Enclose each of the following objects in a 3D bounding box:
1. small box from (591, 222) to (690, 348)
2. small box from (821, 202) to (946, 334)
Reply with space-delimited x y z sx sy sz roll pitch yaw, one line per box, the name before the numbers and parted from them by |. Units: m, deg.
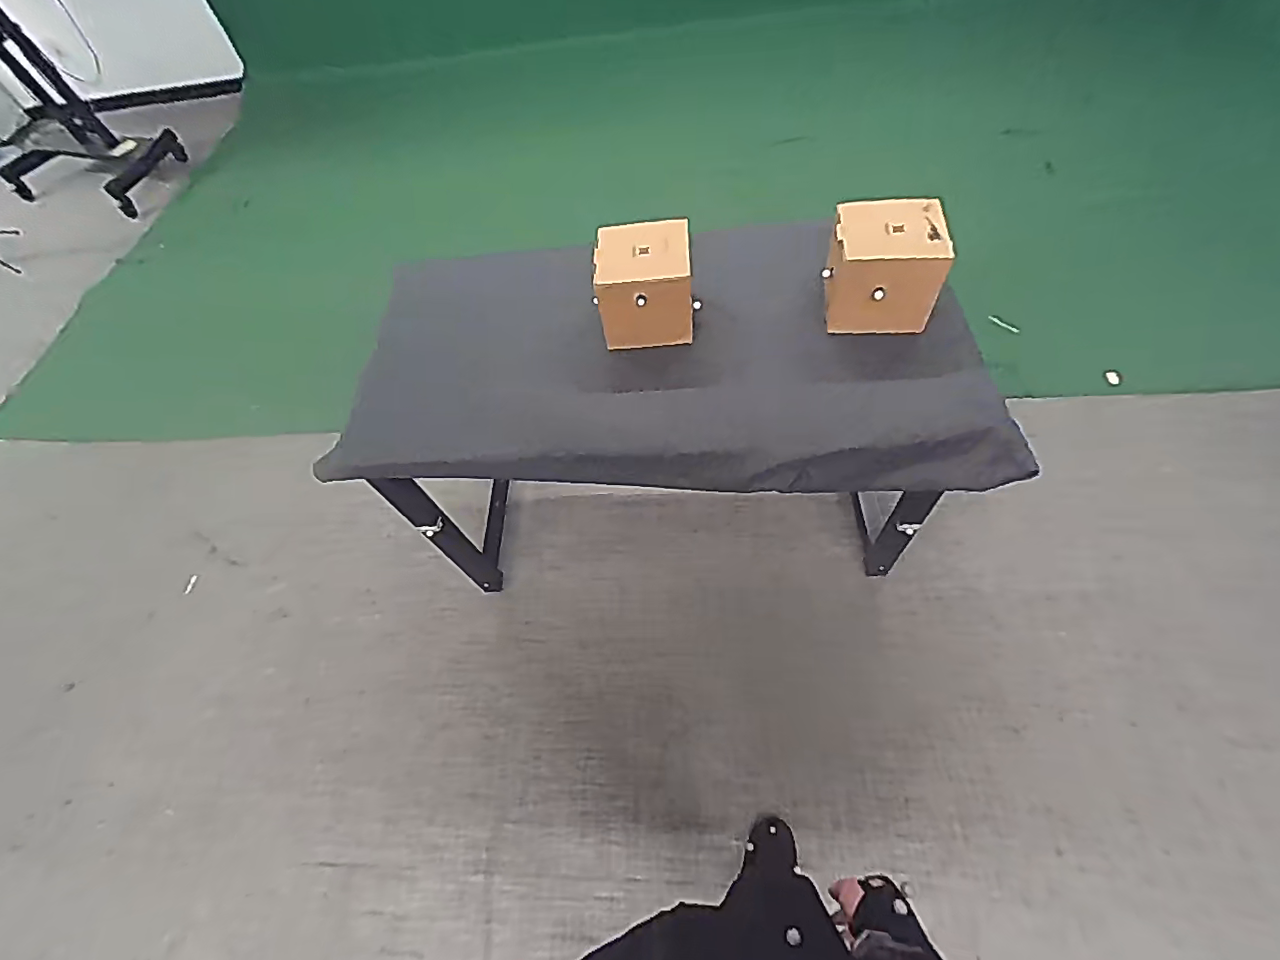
small box | 0.007 -0.377 1.066 0.179 0.176 0.168 -2 60 5
small box | 0.440 -0.389 1.011 0.179 0.176 0.168 2 60 10
